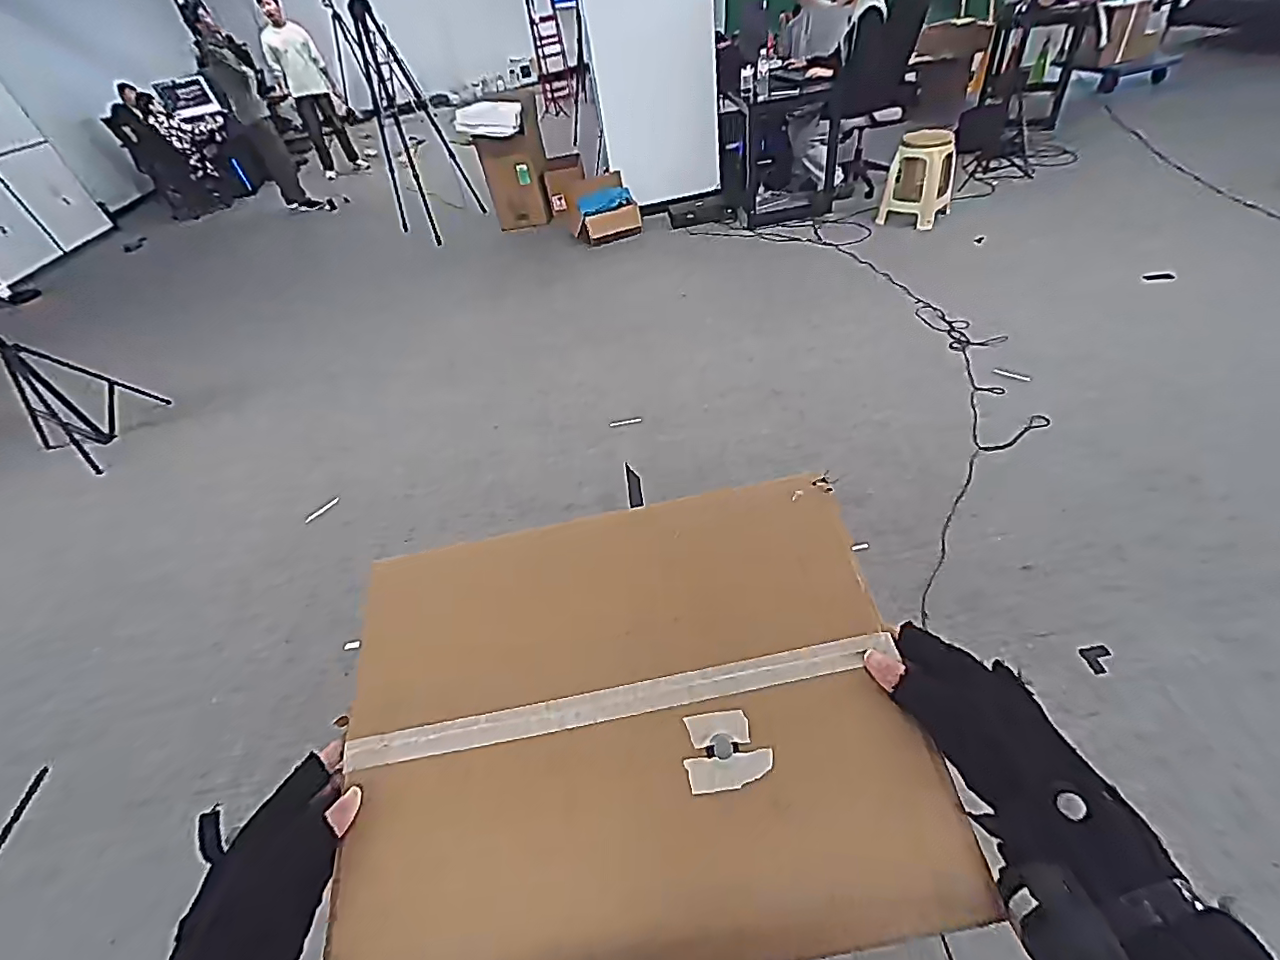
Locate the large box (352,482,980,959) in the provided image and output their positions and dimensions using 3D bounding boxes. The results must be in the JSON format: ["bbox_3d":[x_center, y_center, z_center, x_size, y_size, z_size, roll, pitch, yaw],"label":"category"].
[{"bbox_3d":[0.005,0.247,0.532,0.408,0.320,0.320,-12,58,0],"label":"large box"}]
